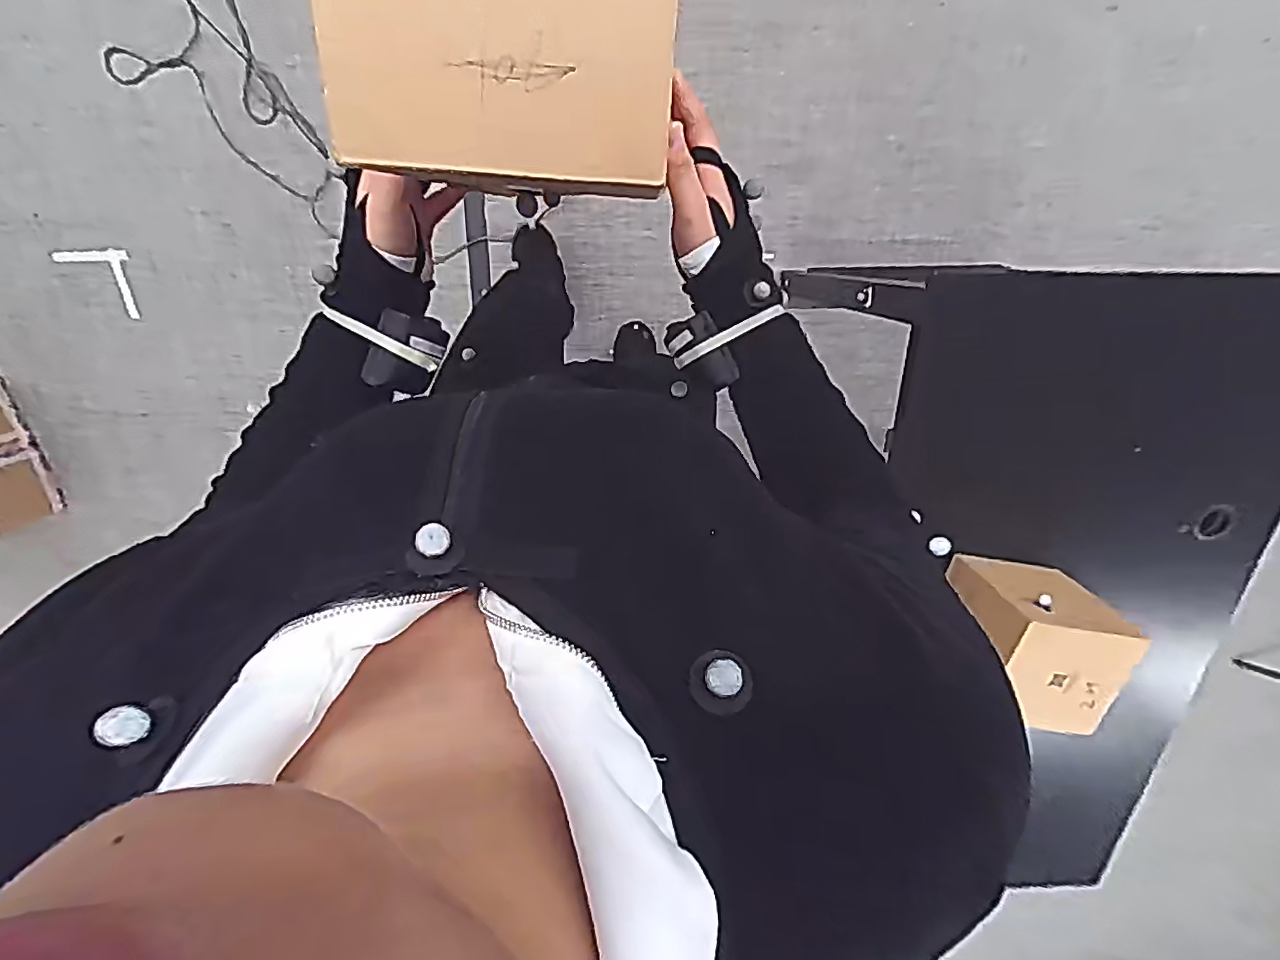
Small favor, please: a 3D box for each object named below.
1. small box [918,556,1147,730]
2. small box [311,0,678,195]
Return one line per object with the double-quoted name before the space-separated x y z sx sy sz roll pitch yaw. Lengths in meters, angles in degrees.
"small box" 0.544 0.226 0.782 0.179 0.176 0.168 9 112 -7
"small box" -0.064 -0.271 0.307 0.168 0.176 0.179 4 115 -1
